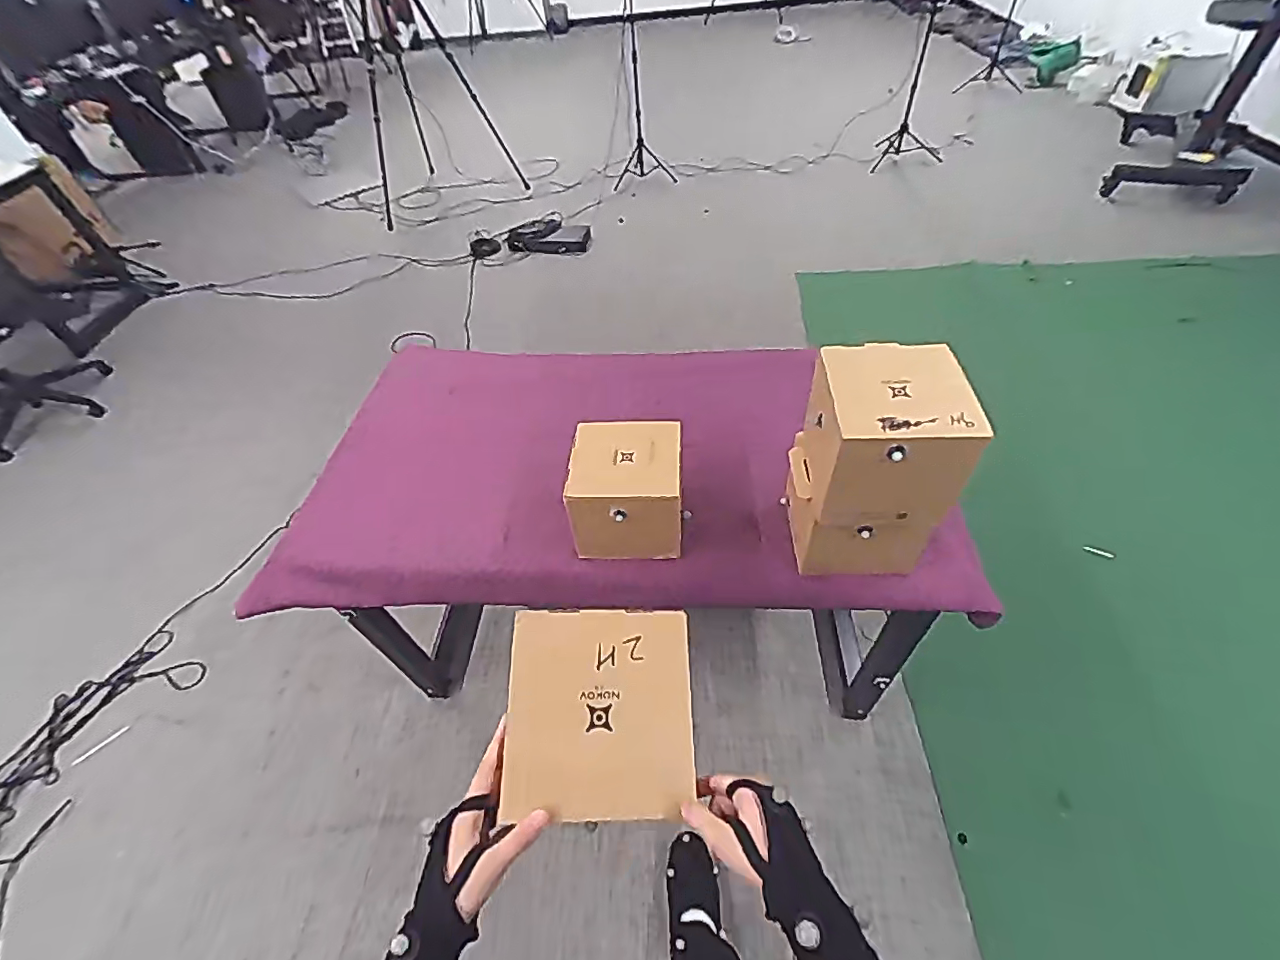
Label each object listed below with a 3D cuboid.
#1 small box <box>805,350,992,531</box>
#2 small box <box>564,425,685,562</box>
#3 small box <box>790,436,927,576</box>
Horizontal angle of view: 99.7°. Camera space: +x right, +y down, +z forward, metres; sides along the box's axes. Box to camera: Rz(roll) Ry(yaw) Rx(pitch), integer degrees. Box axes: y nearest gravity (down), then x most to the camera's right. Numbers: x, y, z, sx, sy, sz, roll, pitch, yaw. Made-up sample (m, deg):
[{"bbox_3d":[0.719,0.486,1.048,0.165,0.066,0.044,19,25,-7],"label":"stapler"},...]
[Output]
[{"bbox_3d":[0.323,-0.053,0.722,0.168,0.176,0.179,-1,48,7],"label":"small box"},{"bbox_3d":[-0.015,0.025,0.910,0.179,0.176,0.168,0,48,6],"label":"small box"},{"bbox_3d":[0.340,0.042,0.856,0.179,0.176,0.168,-2,49,4],"label":"small box"}]
